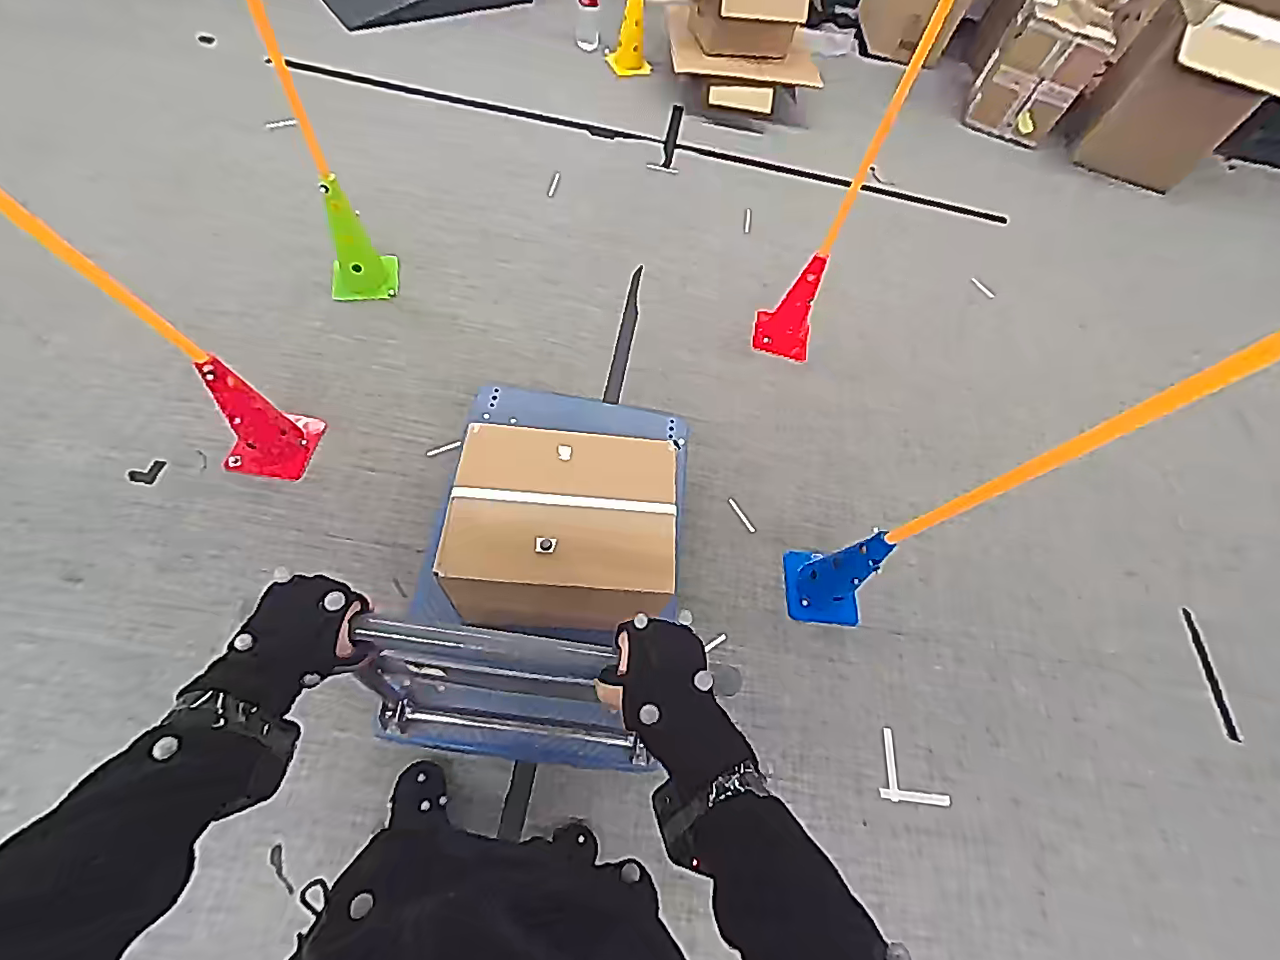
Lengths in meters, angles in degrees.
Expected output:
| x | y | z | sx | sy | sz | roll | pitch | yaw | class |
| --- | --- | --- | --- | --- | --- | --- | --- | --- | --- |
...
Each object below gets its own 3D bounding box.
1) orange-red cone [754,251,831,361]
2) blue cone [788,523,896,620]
| x | y | z | sx | sy | sz | roll | pitch | yaw | class |
| --- | --- | --- | --- | --- | --- | --- | --- | --- | --- |
| 0.536 | -0.597 | 1.779 | 0.199 | 0.360 | 0.198 | 17 | 61 | -1 | orange-red cone |
| 0.531 | 0.211 | 1.360 | 0.193 | 0.380 | 0.192 | 8 | 60 | -5 | blue cone |
